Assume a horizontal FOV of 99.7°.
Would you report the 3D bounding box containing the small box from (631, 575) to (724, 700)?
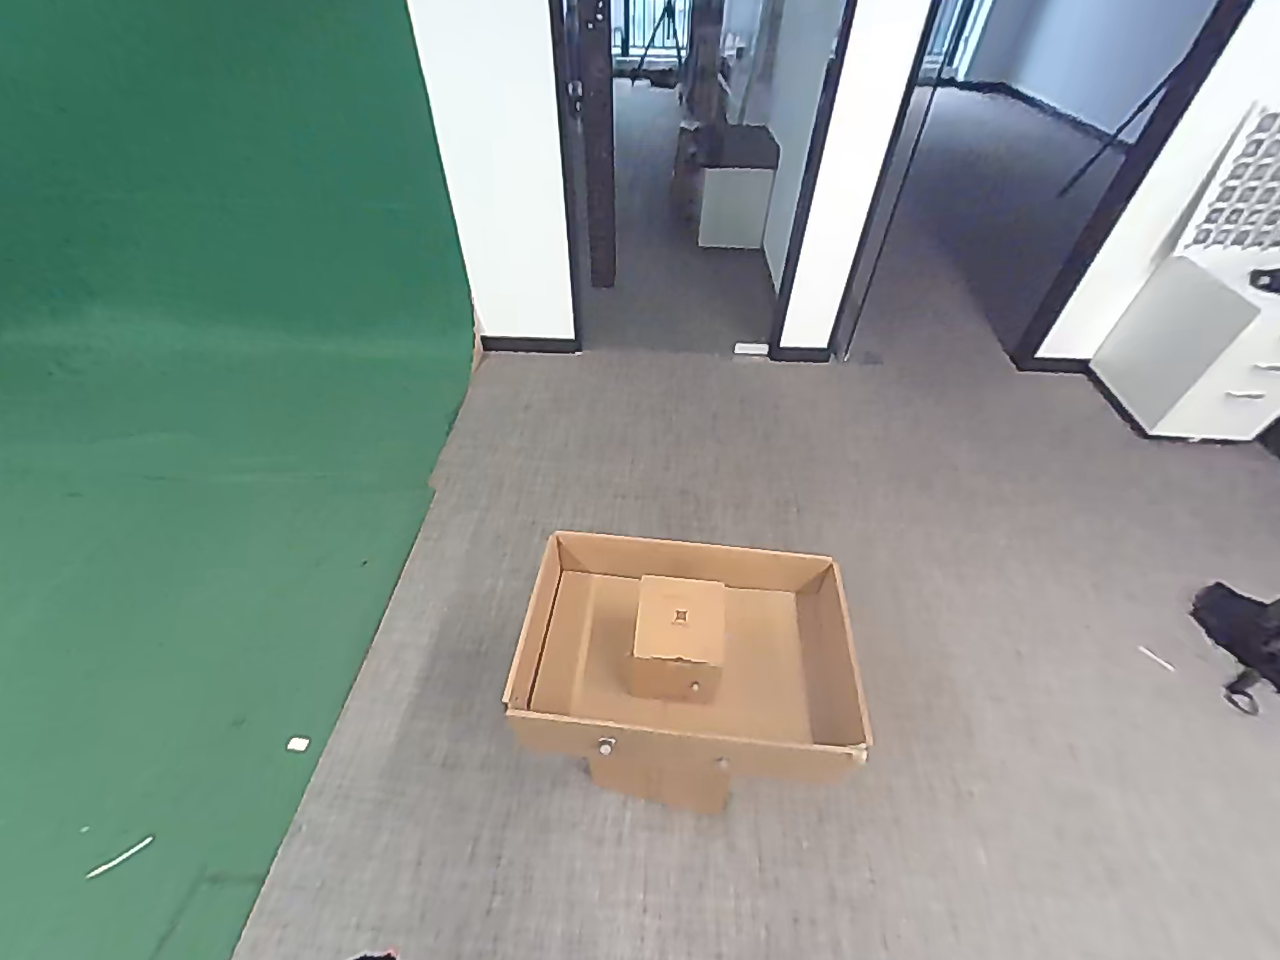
[{"bbox_3d":[0.072,0.312,1.066,0.168,0.176,0.179,5,43,1],"label":"small box"}]
